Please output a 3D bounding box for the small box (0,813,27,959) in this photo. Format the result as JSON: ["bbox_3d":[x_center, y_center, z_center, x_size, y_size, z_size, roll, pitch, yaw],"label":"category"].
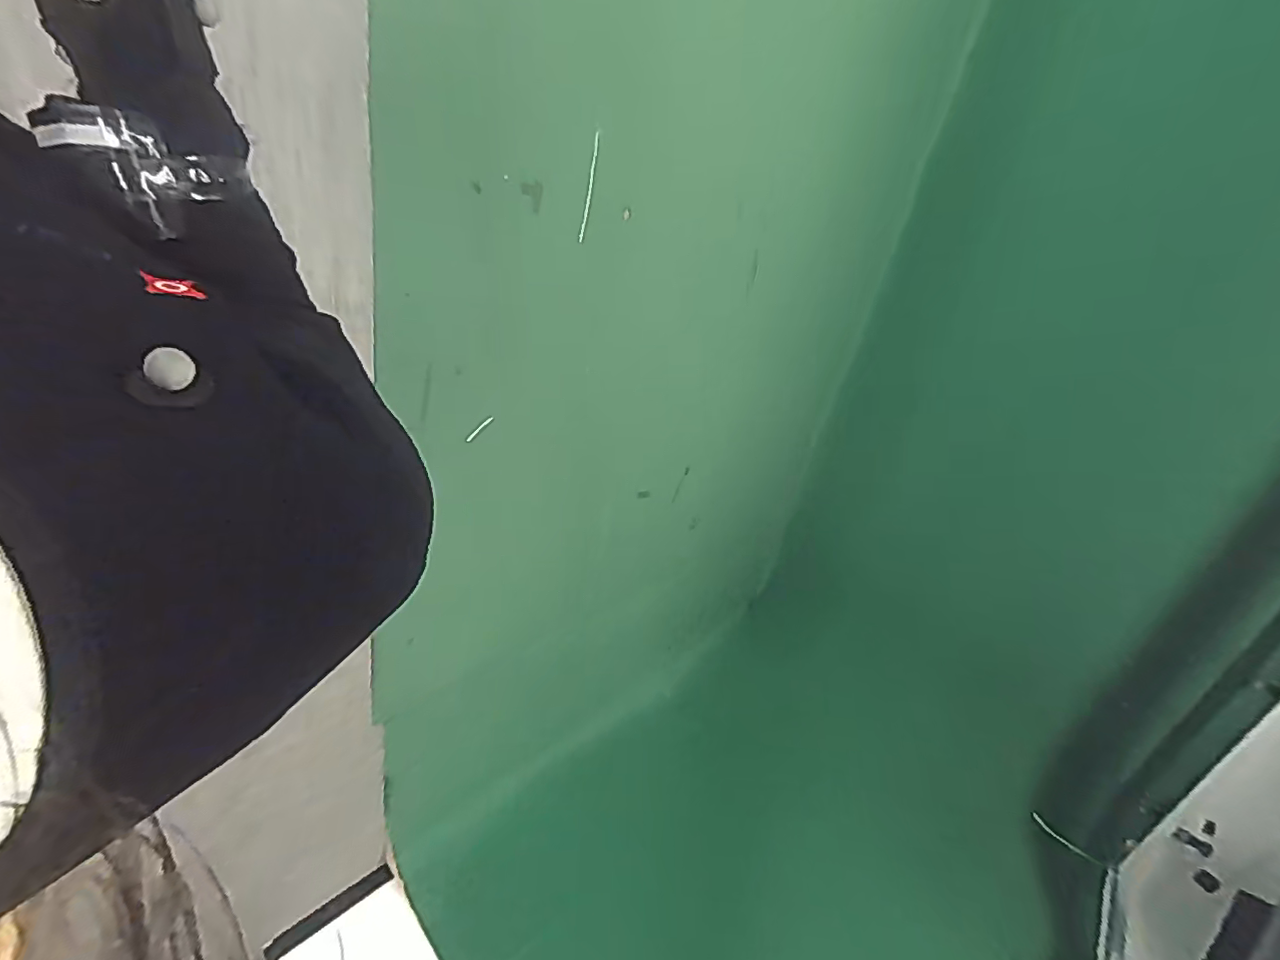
[{"bbox_3d":[-1.061,0.654,0.806,0.179,0.176,0.168,-10,122,-50],"label":"small box"}]

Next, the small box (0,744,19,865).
[{"bbox_3d":[-1.176,0.580,0.897,0.179,0.176,0.168,-7,120,-48],"label":"small box"}]
